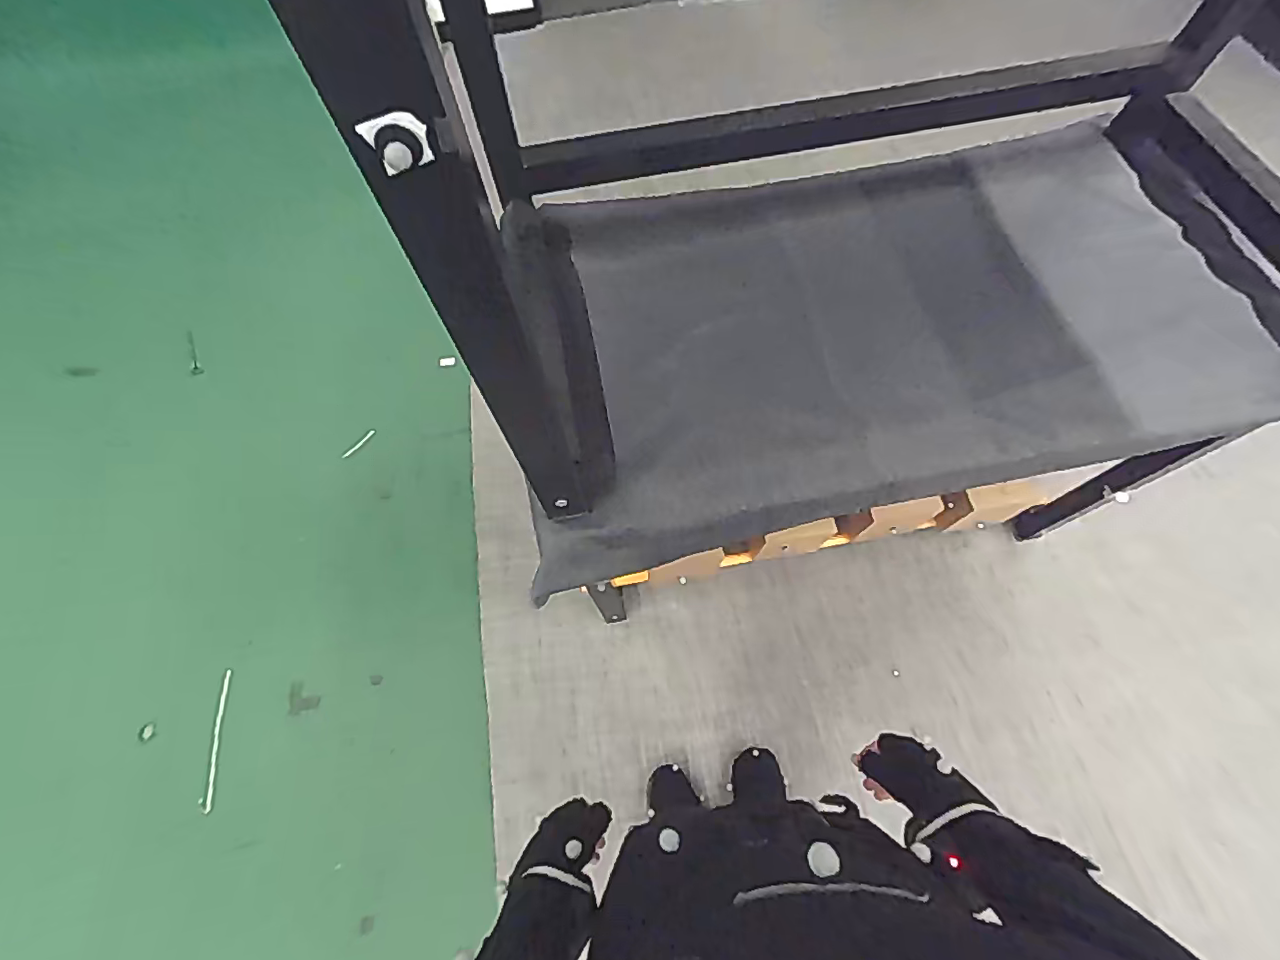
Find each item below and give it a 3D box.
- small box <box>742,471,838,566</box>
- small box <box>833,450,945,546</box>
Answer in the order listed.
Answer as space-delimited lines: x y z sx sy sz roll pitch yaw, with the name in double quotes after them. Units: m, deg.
0.351 0.099 1.297 0.168 0.176 0.179 -9 66 -2 "small box"
0.592 0.052 1.308 0.168 0.176 0.179 -11 66 -2 "small box"
